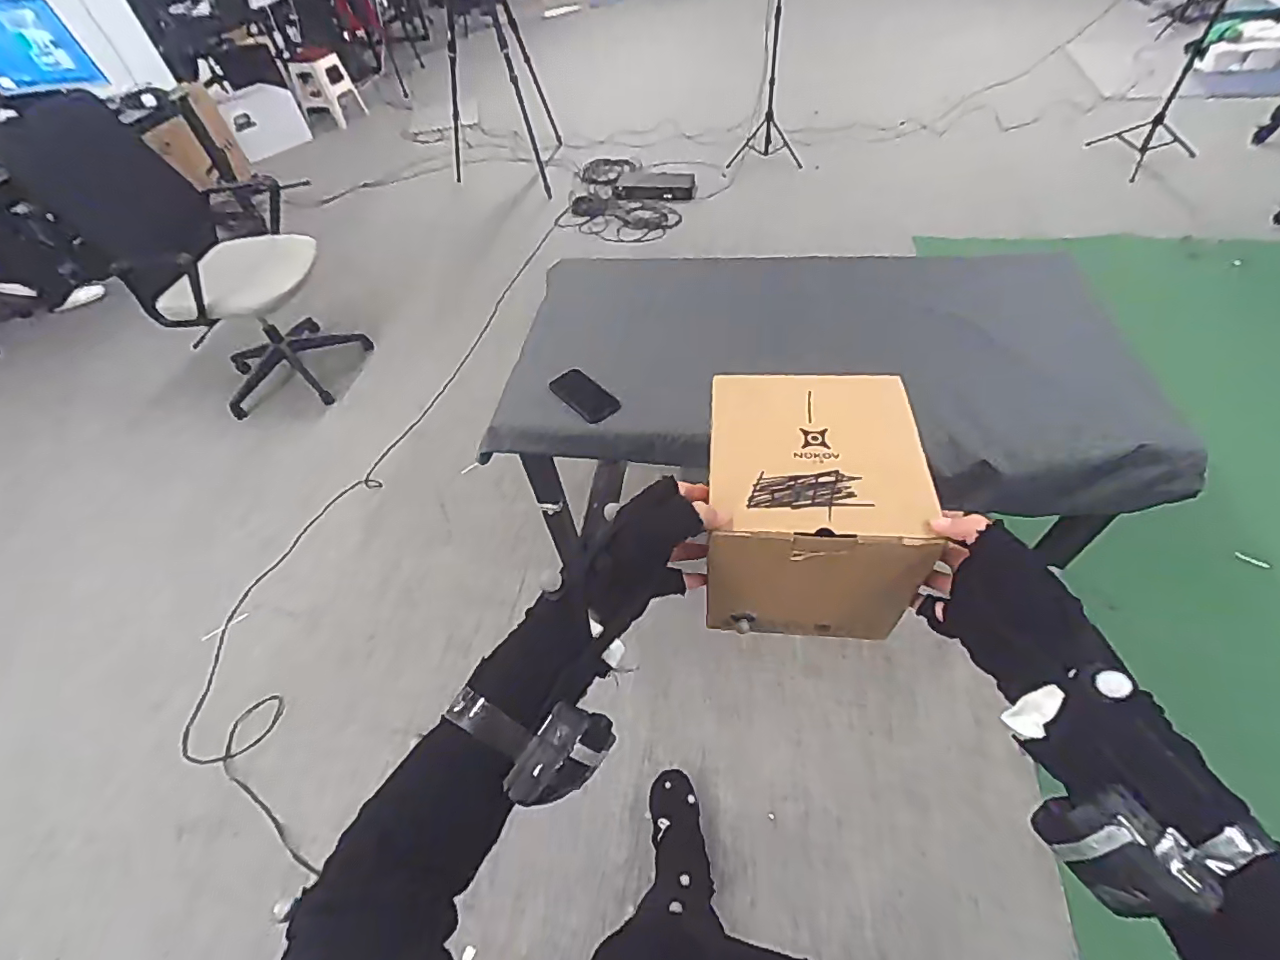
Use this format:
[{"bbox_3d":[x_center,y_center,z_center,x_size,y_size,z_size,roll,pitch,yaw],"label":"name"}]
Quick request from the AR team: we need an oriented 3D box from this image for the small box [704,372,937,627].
[{"bbox_3d":[0.146,0.020,0.501,0.168,0.176,0.179,2,50,7],"label":"small box"}]
